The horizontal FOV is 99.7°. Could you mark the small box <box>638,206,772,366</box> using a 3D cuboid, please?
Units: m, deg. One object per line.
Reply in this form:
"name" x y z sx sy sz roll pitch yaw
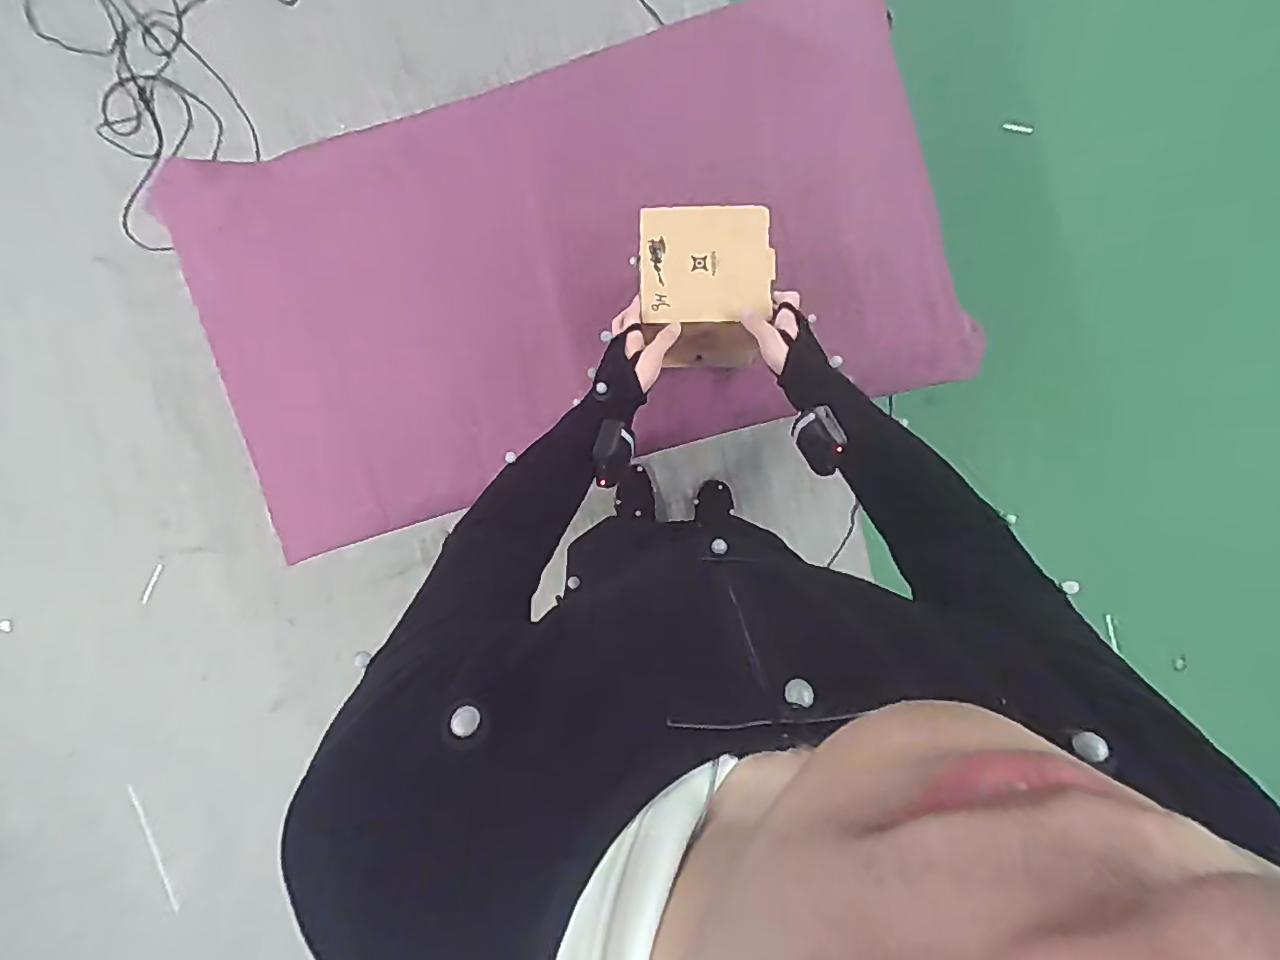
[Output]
"small box" 0.086 -0.275 0.795 0.179 0.176 0.168 0 81 0
